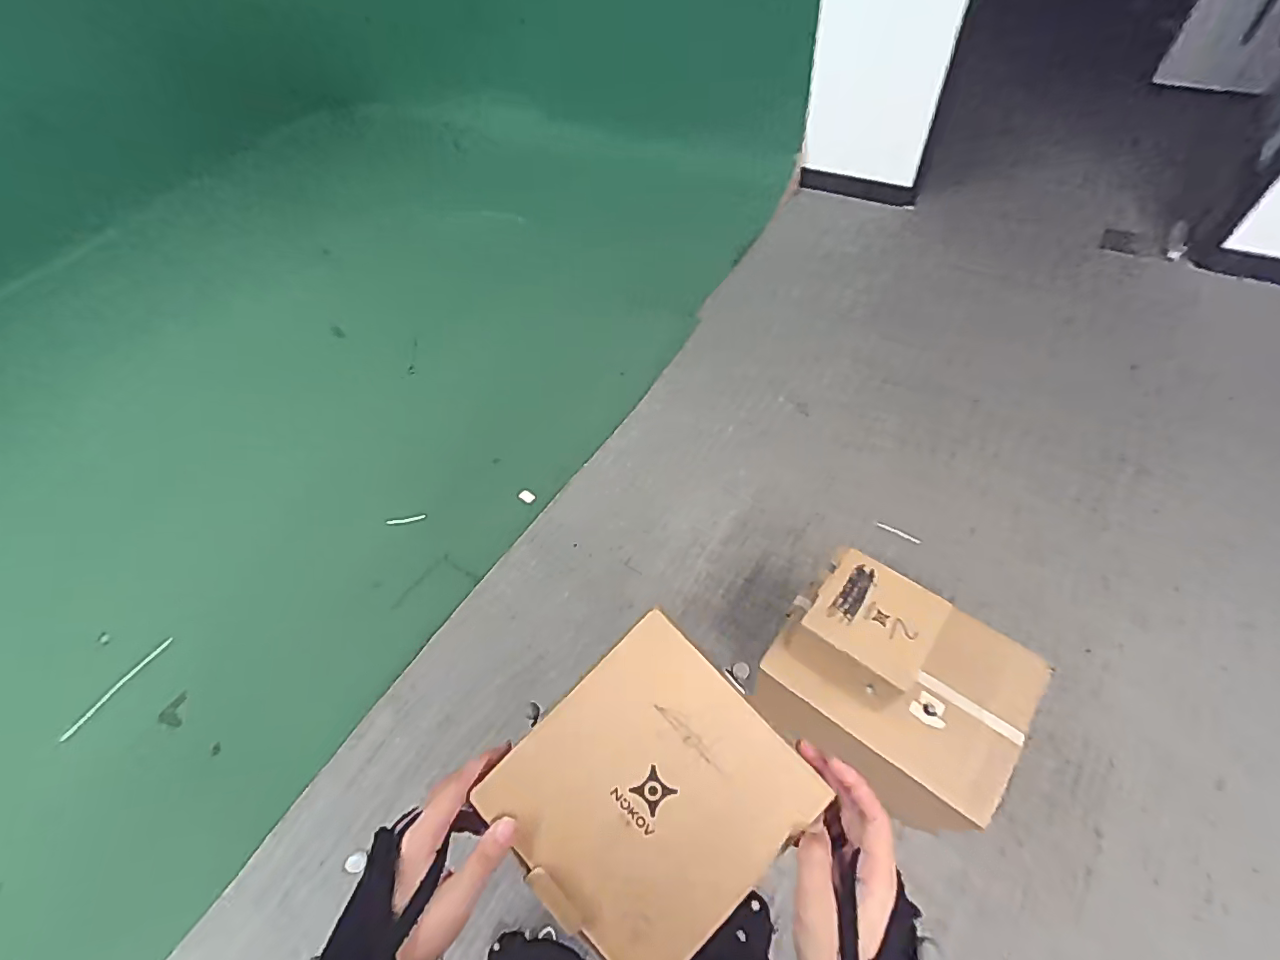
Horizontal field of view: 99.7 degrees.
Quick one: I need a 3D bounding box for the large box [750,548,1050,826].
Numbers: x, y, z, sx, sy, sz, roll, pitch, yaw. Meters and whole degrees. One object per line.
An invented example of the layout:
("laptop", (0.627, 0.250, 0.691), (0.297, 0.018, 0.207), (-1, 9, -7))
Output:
("large box", (0.479, 0.411, 1.083), (0.408, 0.320, 0.320), (32, 67, 24))
